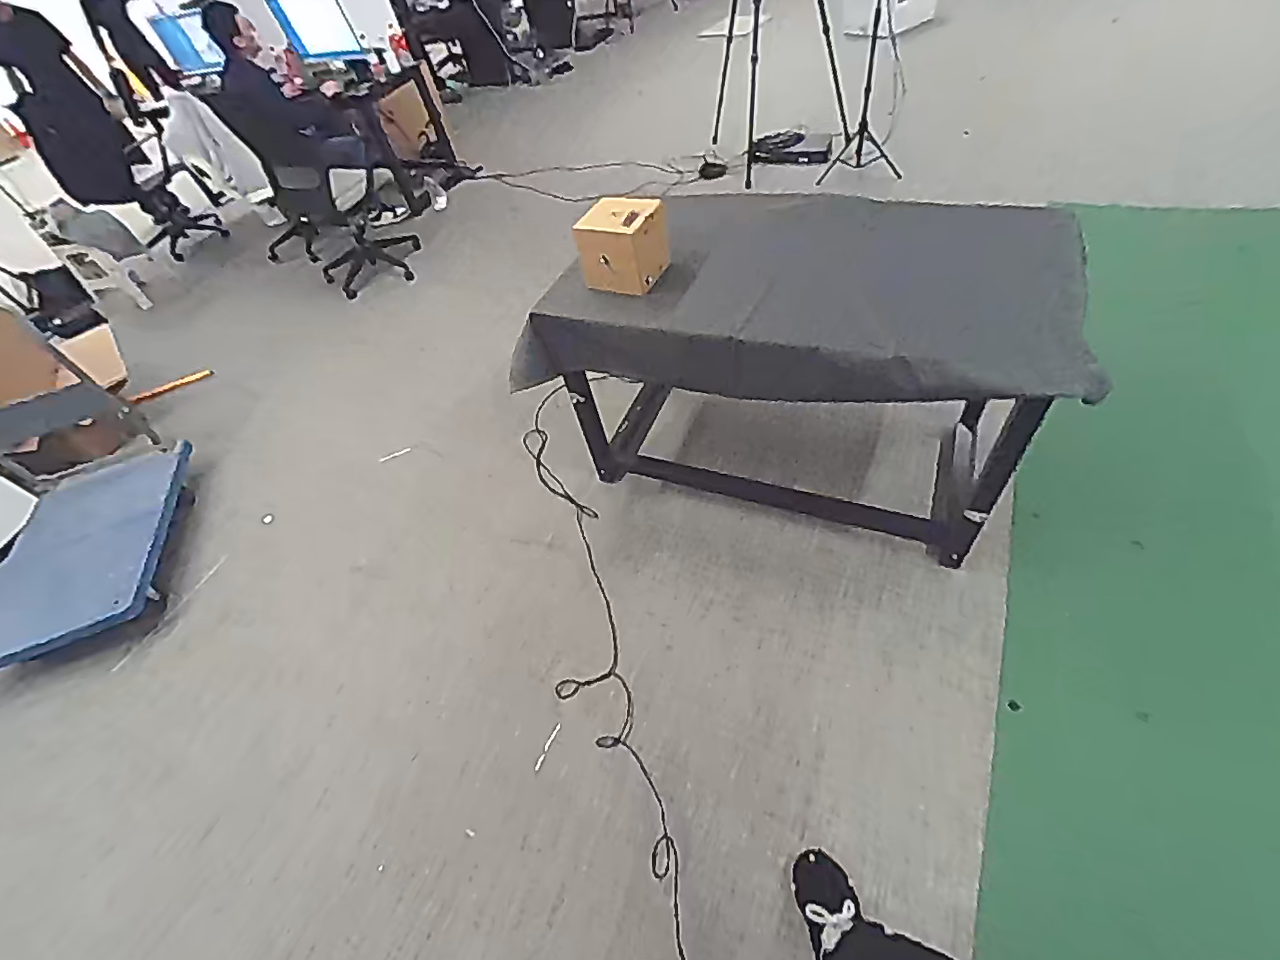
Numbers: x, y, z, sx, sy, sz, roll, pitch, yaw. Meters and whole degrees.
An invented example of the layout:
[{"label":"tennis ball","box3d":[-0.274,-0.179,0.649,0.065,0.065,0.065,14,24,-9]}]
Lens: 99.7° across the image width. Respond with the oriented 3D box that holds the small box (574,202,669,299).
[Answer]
[{"label":"small box","box3d":[-0.038,-0.588,1.393,0.179,0.176,0.168,17,56,24]}]
